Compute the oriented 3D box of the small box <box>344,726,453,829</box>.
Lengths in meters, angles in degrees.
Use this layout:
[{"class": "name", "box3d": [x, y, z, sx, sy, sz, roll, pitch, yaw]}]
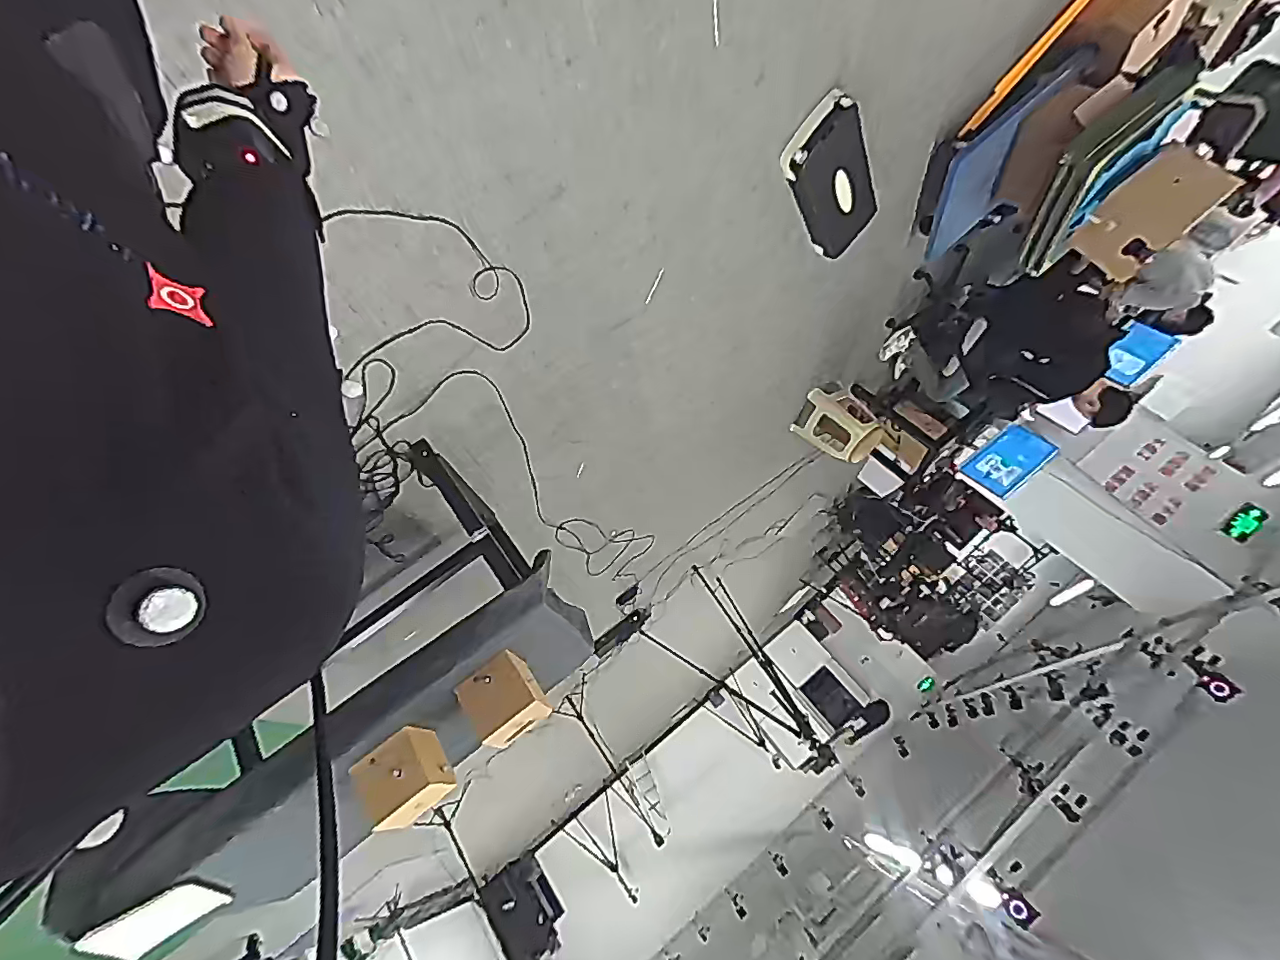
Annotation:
[{"class": "small box", "box3d": [-0.626, 0.766, 1.403, 0.168, 0.176, 0.179, -36, 153, -13]}]
